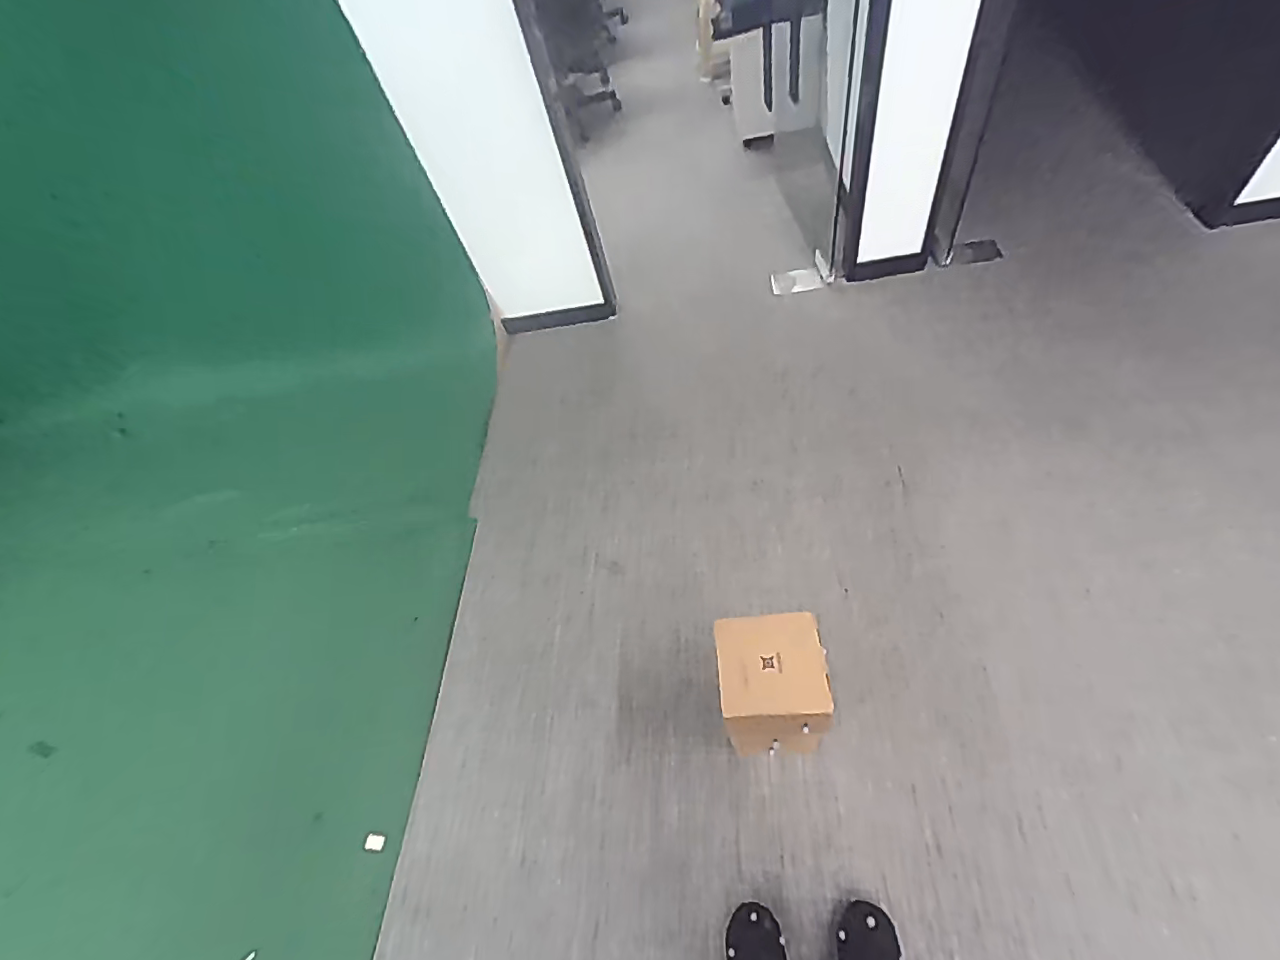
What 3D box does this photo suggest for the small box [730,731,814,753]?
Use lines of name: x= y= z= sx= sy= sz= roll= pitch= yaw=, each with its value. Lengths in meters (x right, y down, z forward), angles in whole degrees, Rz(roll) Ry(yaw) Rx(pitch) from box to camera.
small box: x=0.291 y=0.518 z=1.233 sx=0.179 sy=0.176 sz=0.168 roll=-6 pitch=54 yaw=11

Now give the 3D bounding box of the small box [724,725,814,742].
small box: x=0.256 y=0.430 z=1.101 sx=0.179 sy=0.176 sz=0.168 roll=-7 pitch=54 yaw=9

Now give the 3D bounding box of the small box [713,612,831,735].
small box: x=0.229 y=0.348 z=0.962 sx=0.179 sy=0.176 sz=0.168 roll=-8 pitch=53 yaw=10
